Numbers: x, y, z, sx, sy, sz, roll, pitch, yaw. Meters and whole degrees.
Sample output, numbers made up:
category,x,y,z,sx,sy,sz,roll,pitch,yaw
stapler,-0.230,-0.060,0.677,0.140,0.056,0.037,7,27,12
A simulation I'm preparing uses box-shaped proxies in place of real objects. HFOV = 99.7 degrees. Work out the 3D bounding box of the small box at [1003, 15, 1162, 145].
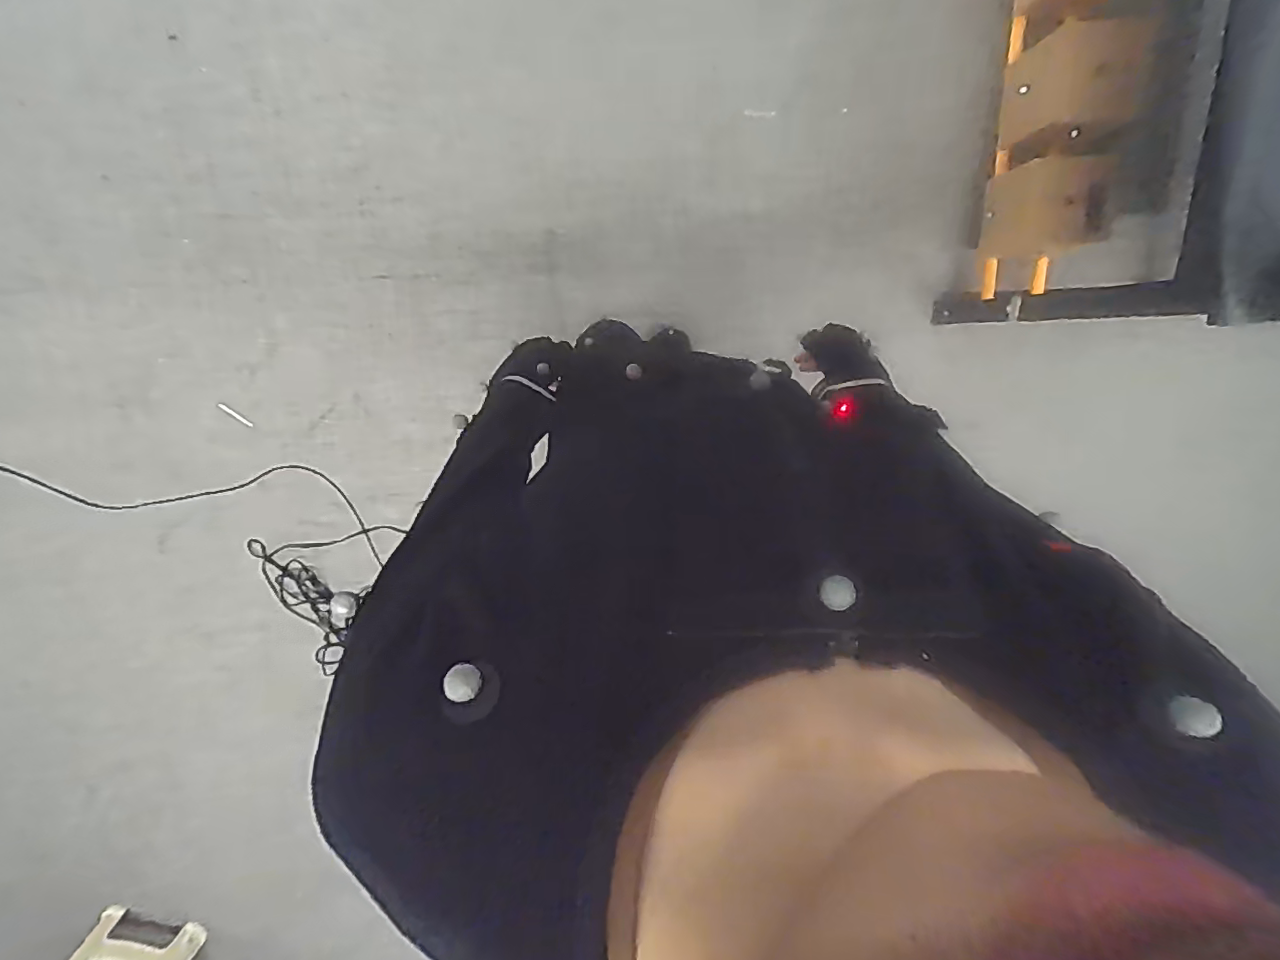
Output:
category,x,y,z,sx,sy,sz,roll,pitch,yaw
small box,0.876,-0.794,1.091,0.179,0.176,0.168,-2,107,1

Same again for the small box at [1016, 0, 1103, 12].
category,x,y,z,sx,sy,sz,roll,pitch,yaw
small box,0.862,-1.031,1.027,0.179,0.176,0.168,-1,106,1
